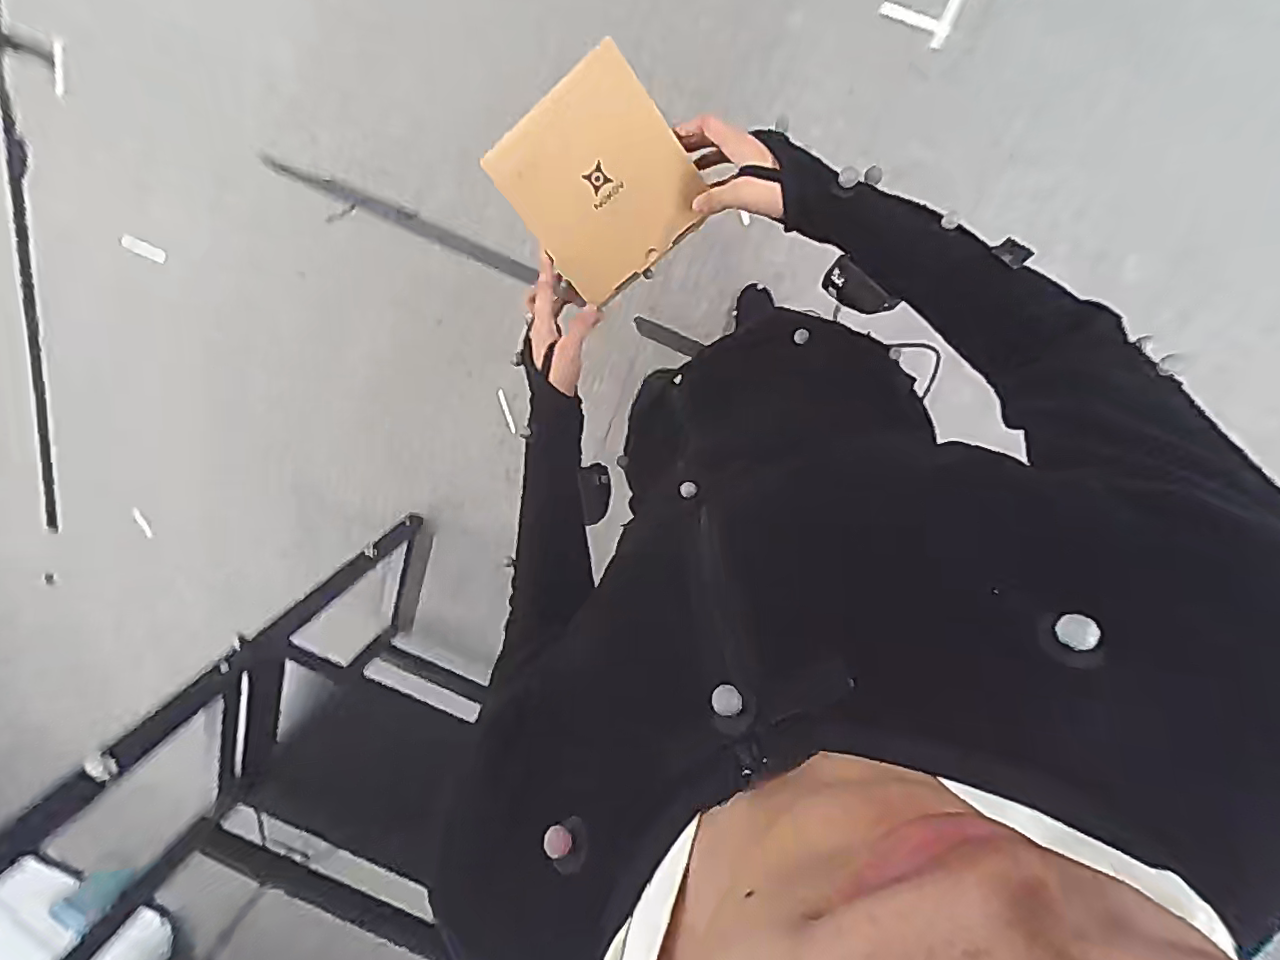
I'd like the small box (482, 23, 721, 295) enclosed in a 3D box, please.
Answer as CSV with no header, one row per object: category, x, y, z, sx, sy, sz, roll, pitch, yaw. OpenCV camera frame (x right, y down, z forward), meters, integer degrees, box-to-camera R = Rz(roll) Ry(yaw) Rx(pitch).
small box,-0.036,-0.324,0.590,0.168,0.176,0.179,-35,108,13
